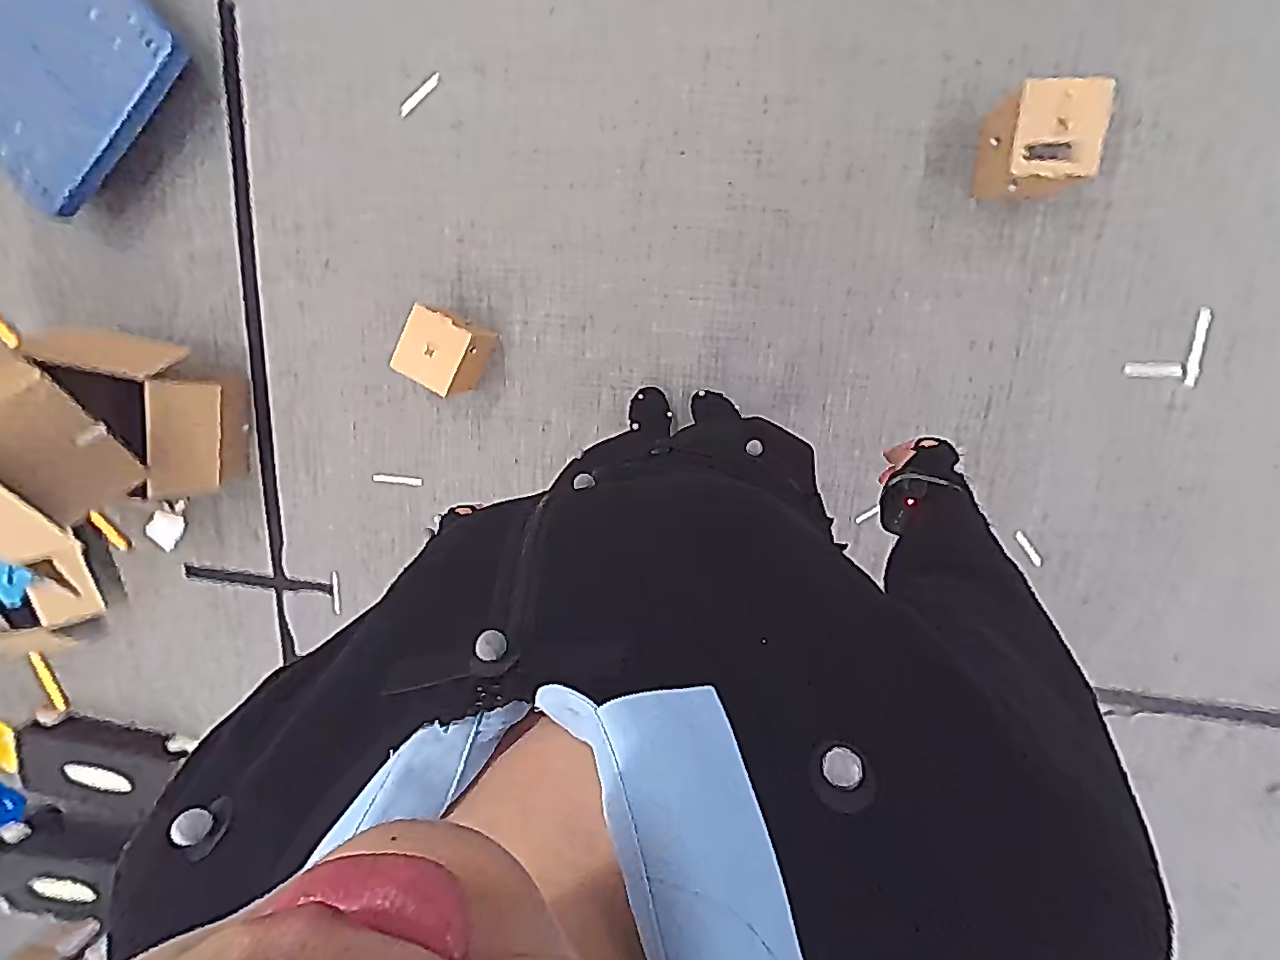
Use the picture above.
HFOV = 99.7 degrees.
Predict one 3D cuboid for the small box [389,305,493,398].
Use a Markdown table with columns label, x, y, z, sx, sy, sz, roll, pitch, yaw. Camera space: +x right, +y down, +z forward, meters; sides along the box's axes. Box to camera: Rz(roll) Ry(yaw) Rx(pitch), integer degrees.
| label | x | y | z | sx | sy | sz | roll | pitch | yaw |
| --- | --- | --- | --- | --- | --- | --- | --- | --- | --- |
| small box | -0.510 | -0.331 | 1.413 | 0.168 | 0.176 | 0.179 | 29 | 103 | 1 |
